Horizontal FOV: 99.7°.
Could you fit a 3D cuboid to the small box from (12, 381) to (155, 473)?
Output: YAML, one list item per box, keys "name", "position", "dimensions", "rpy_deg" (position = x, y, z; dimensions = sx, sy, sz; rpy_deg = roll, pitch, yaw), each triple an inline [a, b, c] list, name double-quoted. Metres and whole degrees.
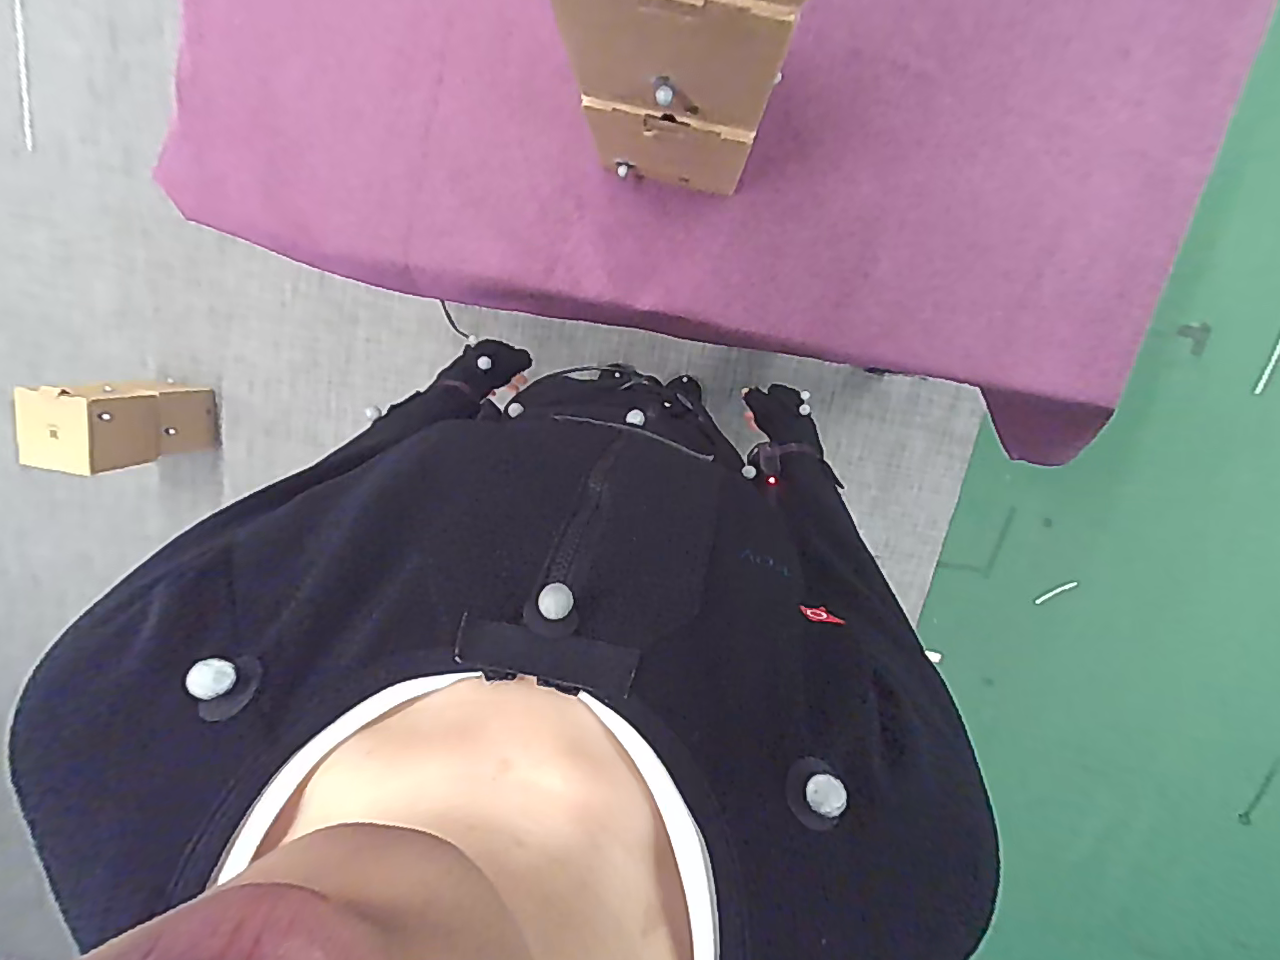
- name: "small box"
  position: [-1.282, -0.129, 1.260]
  dimensions: [0.168, 0.176, 0.179]
  rpy_deg: [10, 102, 0]

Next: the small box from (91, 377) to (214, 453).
- name: "small box"
  position: [-1.271, -0.175, 1.417]
  dimensions: [0.179, 0.176, 0.168]
  rpy_deg: [10, 103, 1]

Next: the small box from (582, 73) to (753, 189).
- name: "small box"
  position: [0.047, -0.431, 0.563]
  dimensions: [0.168, 0.176, 0.179]
  rpy_deg: [13, 102, 0]

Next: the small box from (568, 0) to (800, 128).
- name: "small box"
  position: [0.040, -0.405, 0.401]
  dimensions: [0.168, 0.176, 0.179]
  rpy_deg: [13, 103, 0]
